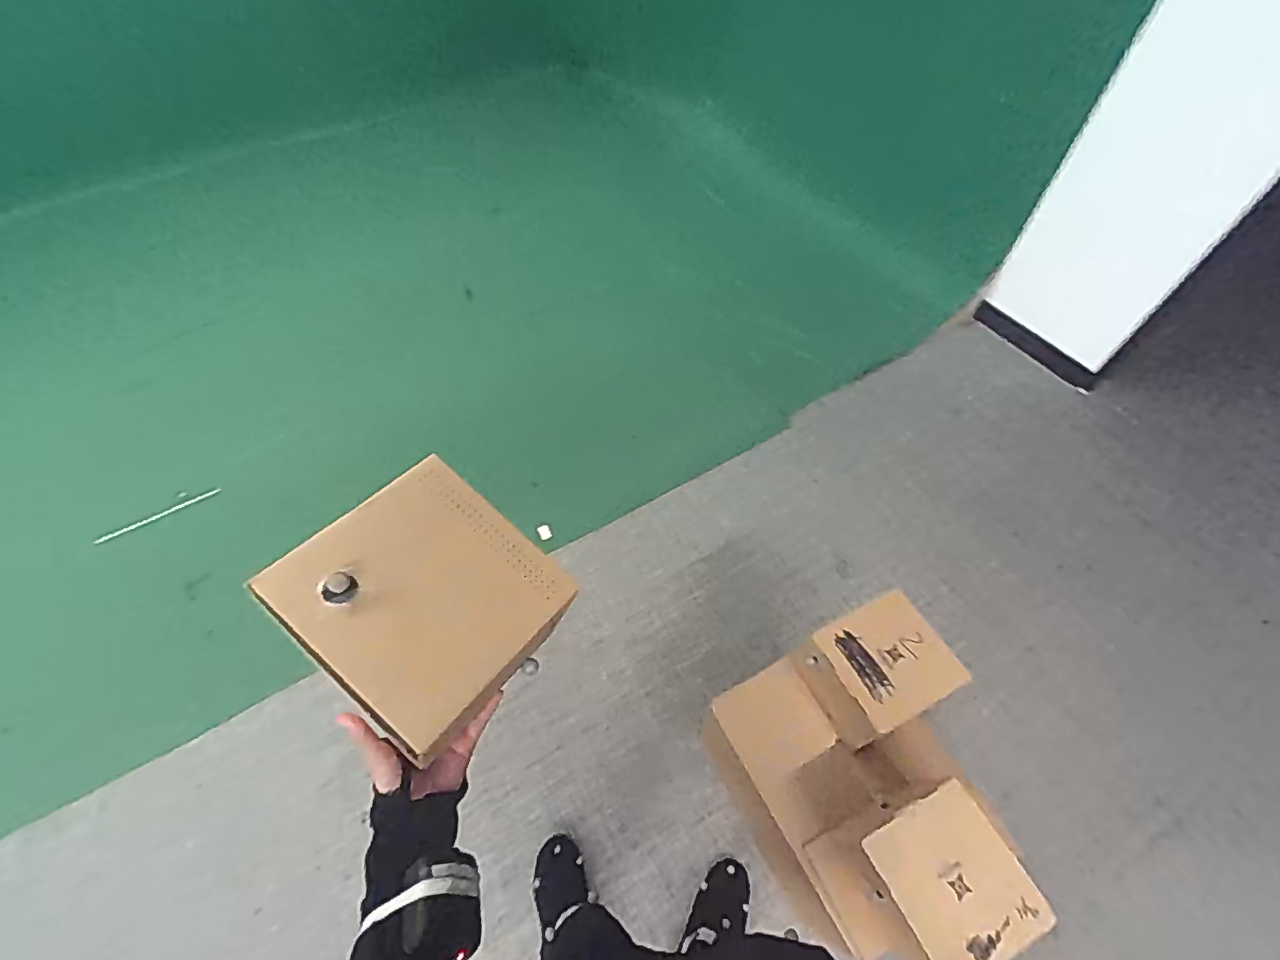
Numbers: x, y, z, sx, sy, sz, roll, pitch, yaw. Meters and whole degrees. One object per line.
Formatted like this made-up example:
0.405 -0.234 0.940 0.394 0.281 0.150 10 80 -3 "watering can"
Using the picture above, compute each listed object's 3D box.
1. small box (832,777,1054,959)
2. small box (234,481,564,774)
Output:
0.392 0.541 0.742 0.168 0.176 0.179 -24 59 -10 "small box"
-0.196 0.123 0.477 0.179 0.168 0.176 40 56 6 "small box"
